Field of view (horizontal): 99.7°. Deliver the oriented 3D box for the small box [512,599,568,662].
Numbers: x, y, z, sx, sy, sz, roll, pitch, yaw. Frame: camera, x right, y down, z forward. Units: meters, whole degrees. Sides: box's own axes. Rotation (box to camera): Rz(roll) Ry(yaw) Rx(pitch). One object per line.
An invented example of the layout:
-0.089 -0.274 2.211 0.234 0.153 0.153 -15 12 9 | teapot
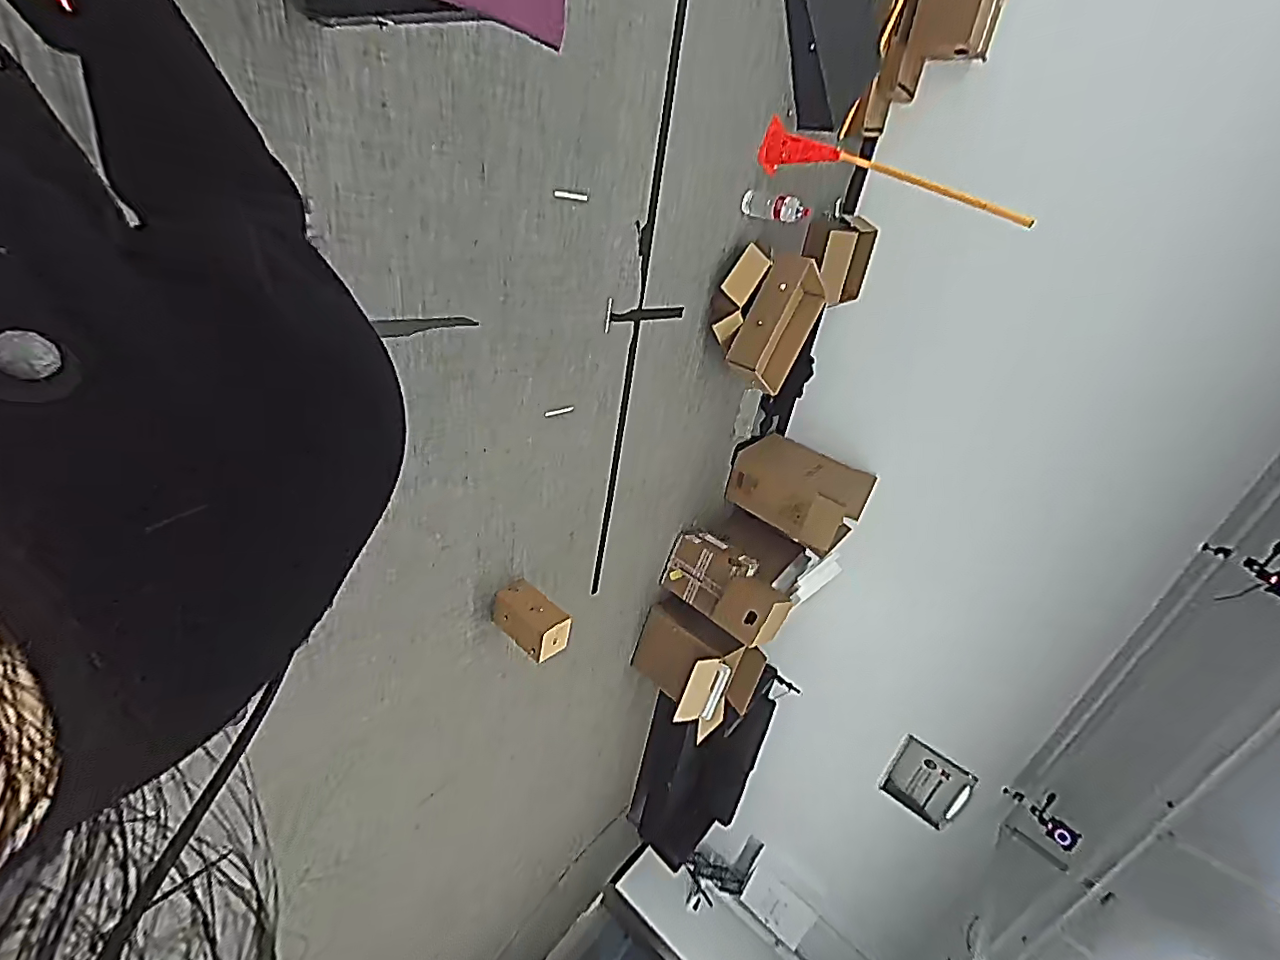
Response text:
-0.446 0.660 2.395 0.168 0.176 0.179 -20 130 -49 | small box
